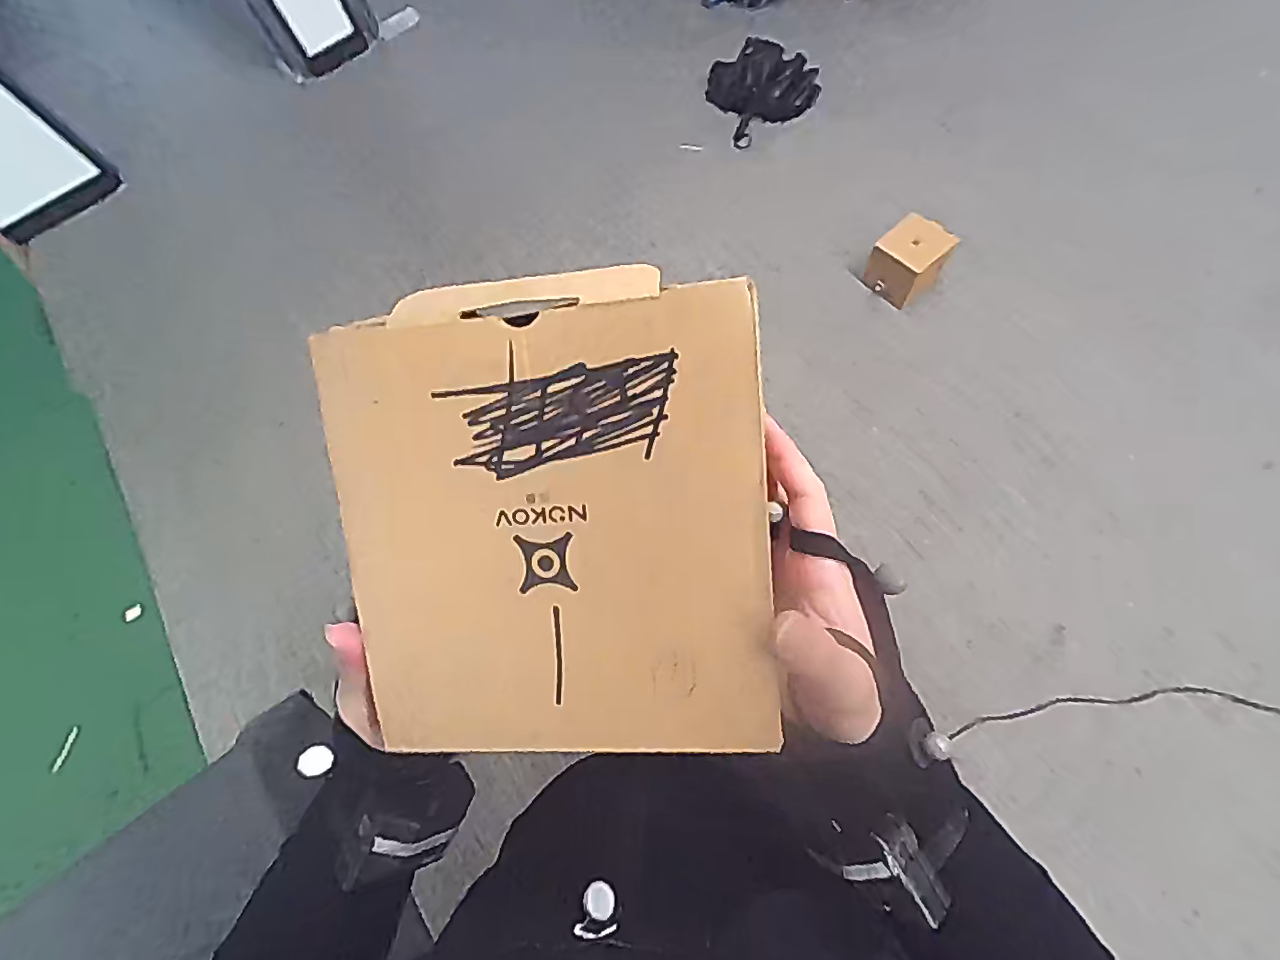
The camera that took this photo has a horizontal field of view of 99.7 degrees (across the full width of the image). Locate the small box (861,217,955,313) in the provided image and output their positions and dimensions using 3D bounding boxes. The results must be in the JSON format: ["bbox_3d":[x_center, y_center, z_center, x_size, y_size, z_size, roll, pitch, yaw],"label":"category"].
[{"bbox_3d":[0.812,-0.656,1.661,0.179,0.176,0.168,-41,69,-8],"label":"small box"}]
